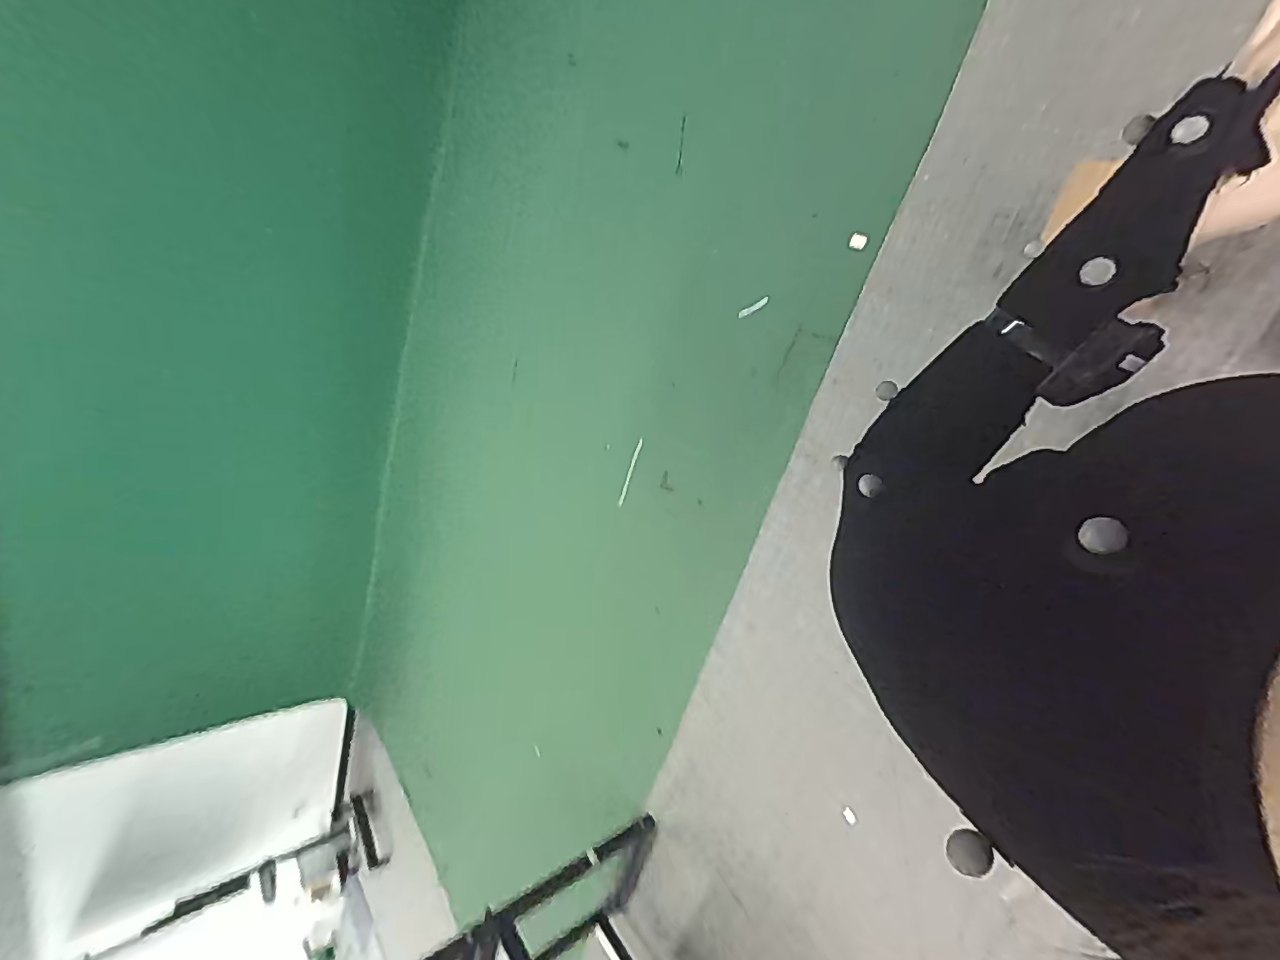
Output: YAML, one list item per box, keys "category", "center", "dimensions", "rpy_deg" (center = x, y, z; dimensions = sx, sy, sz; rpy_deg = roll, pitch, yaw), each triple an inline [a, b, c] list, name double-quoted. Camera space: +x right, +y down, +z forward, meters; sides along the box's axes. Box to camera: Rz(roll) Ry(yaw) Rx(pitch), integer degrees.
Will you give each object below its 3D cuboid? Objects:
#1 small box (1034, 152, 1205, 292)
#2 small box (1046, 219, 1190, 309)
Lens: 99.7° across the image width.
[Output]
- category: "small box"
  center: [0.851, -0.457, 0.967]
  dimensions: [0.168, 0.176, 0.179]
  rpy_deg: [33, 112, 42]
- category: "small box"
  center: [0.959, -0.460, 1.085]
  dimensions: [0.168, 0.176, 0.179]
  rpy_deg: [30, 112, 41]
